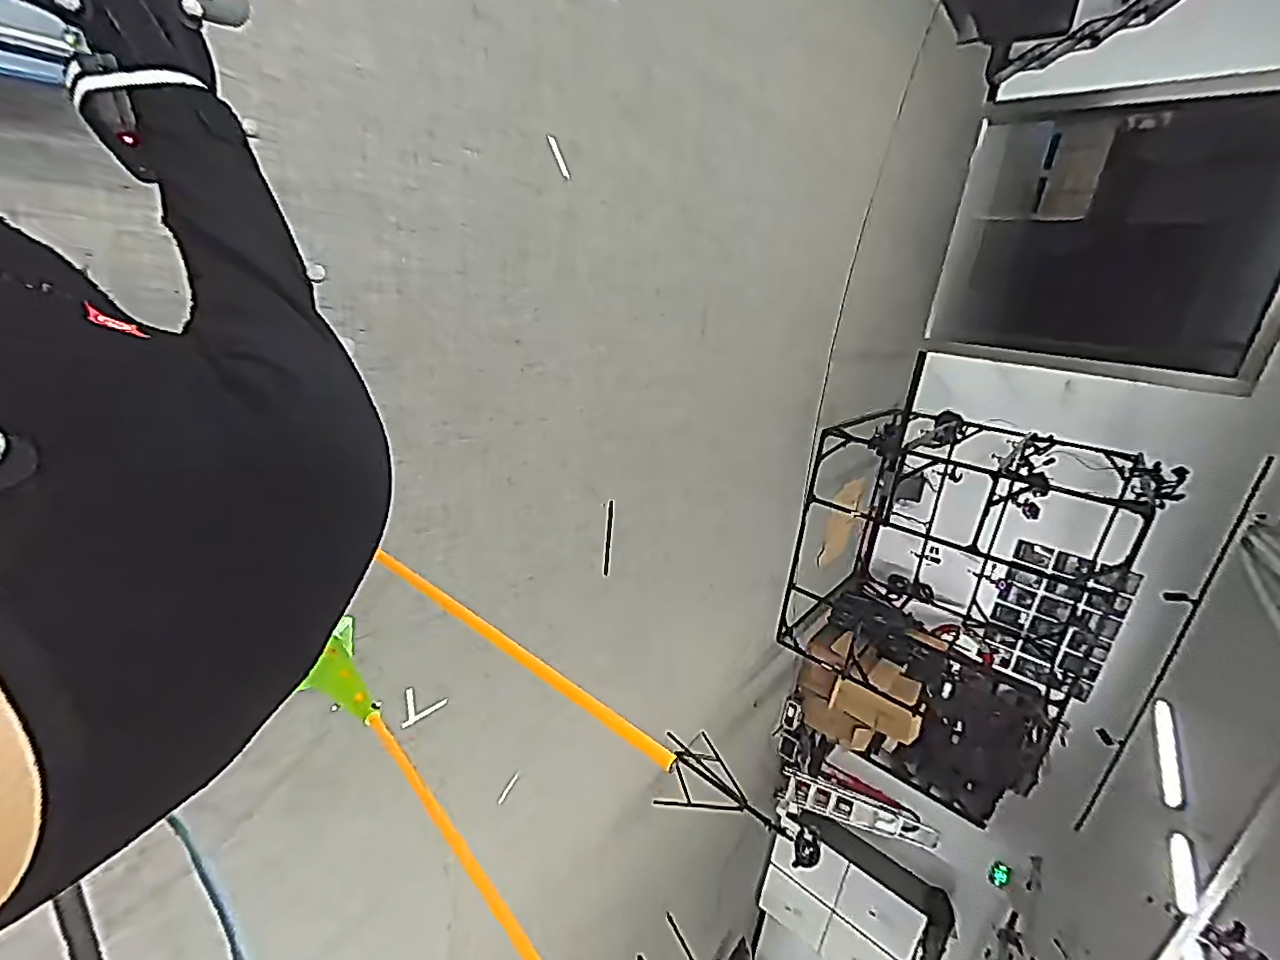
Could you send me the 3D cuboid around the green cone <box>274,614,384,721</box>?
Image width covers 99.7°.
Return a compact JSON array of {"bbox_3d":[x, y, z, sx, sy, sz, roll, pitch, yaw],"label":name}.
[{"bbox_3d":[-0.818,0.554,1.481,0.202,0.368,0.200,-12,116,-51],"label":"green cone"}]
